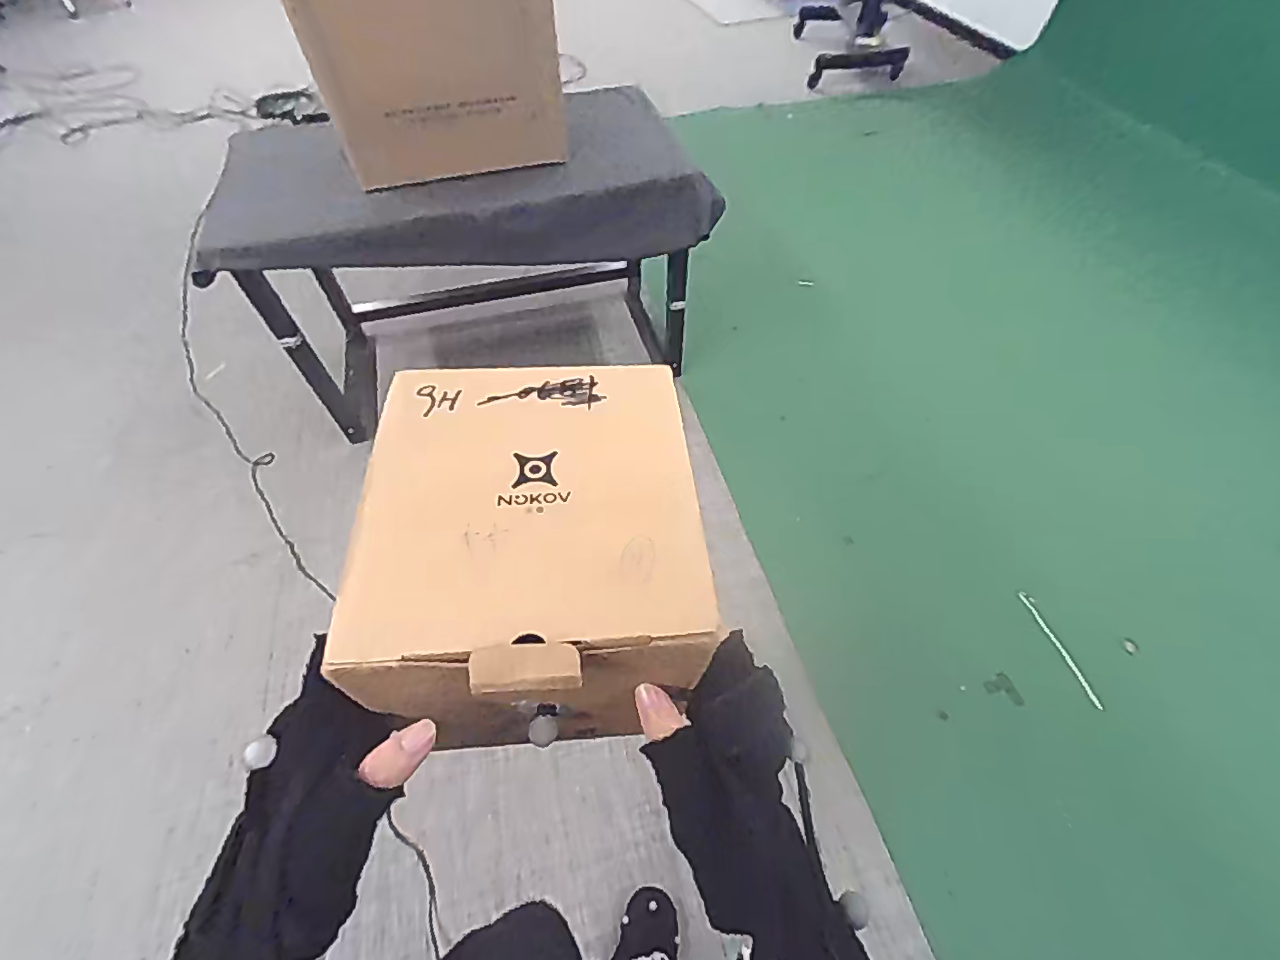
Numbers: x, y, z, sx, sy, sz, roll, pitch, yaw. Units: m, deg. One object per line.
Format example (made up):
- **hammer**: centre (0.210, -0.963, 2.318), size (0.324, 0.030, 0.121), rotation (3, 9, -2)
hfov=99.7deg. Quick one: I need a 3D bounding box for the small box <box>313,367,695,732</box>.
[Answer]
- **small box**: centre (-0.064, 0.051, 0.341), size (0.168, 0.176, 0.179), rotation (-1, 53, -5)
